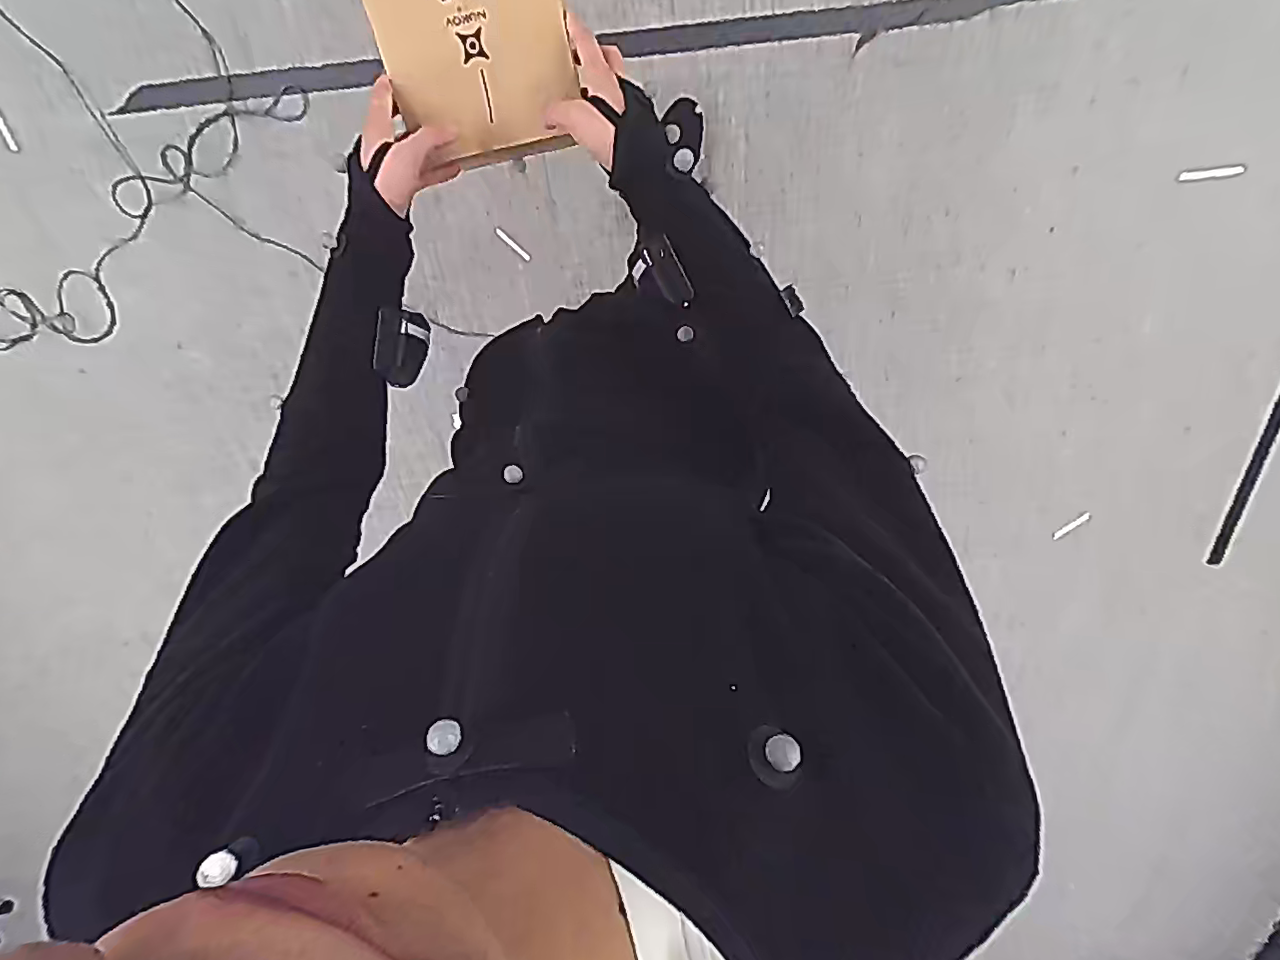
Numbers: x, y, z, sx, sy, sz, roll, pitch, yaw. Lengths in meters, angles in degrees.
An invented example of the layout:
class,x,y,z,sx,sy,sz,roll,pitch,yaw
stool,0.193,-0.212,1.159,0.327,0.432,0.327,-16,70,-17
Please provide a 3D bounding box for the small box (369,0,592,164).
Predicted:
class,x,y,z,sx,sy,sz,roll,pitch,yaw
small box,-0.146,-0.428,0.535,0.168,0.176,0.179,-10,119,3
